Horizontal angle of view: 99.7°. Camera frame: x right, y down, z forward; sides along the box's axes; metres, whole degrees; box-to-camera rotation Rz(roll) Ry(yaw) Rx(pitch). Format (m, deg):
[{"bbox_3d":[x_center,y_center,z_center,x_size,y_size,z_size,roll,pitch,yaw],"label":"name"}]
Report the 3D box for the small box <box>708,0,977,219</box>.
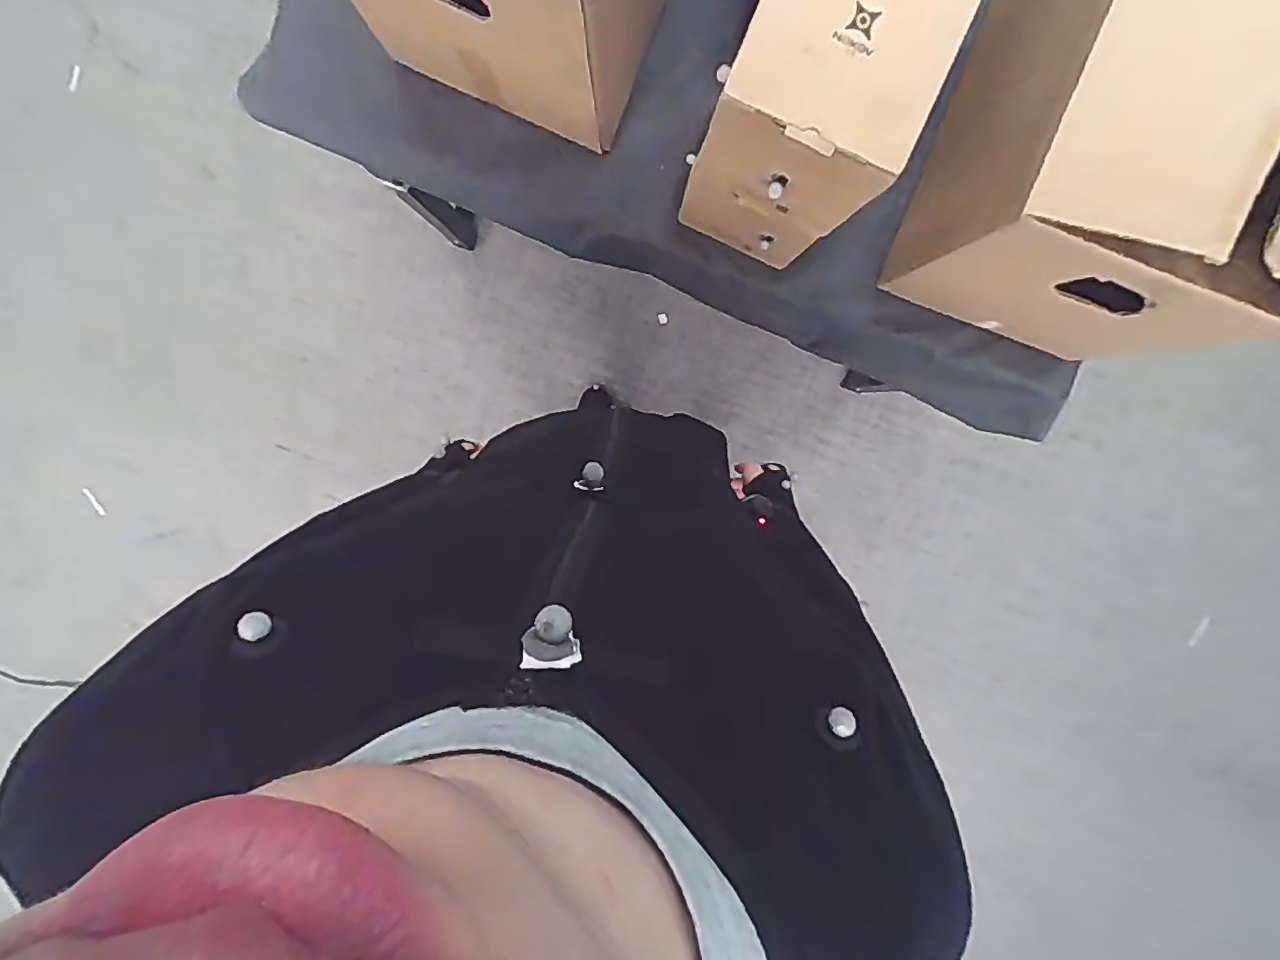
[{"bbox_3d":[0.174,-0.382,0.517,0.168,0.176,0.179,22,99,-5],"label":"small box"}]
